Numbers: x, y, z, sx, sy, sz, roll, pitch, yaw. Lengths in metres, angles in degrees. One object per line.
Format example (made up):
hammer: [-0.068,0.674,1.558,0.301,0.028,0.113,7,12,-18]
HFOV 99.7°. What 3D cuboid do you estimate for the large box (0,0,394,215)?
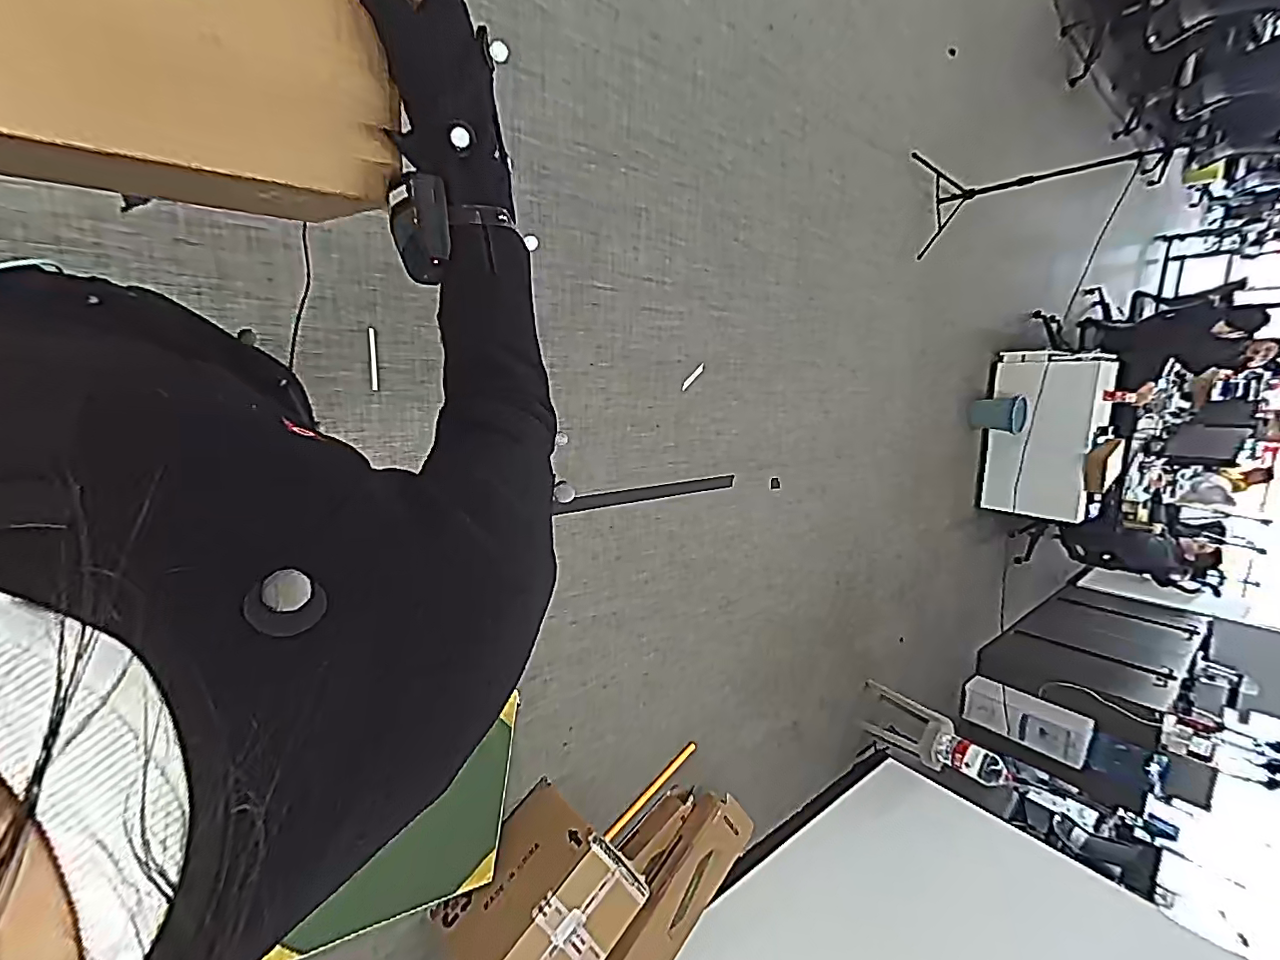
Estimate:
large box: [-0.428,-0.383,0.360,0.408,0.320,0.320,-10,114,-39]
